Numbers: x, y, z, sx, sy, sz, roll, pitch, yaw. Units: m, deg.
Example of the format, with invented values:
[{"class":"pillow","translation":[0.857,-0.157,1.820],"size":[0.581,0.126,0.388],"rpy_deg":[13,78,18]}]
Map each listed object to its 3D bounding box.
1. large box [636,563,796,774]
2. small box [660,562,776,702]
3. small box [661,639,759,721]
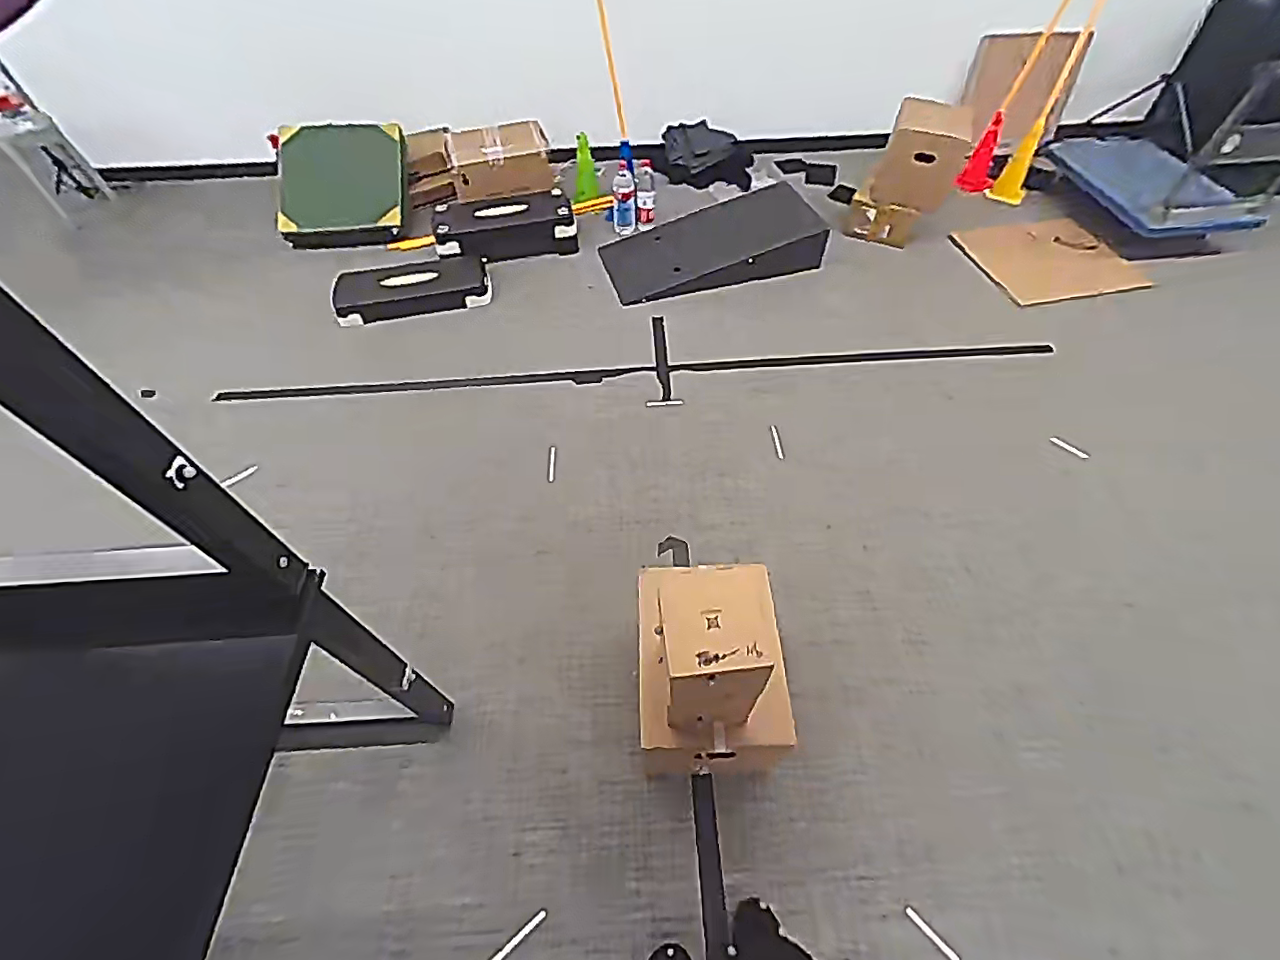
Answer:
[{"class":"large box","translation":[0.154,0.454,1.303],"size":[0.320,0.320,0.408],"rpy_deg":[-1,52,-1]},{"class":"small box","translation":[0.123,0.264,0.935],"size":[0.168,0.176,0.179],"rpy_deg":[-6,52,-1]},{"class":"small box","translation":[0.128,0.362,1.067],"size":[0.168,0.176,0.179],"rpy_deg":[-4,54,1]}]
